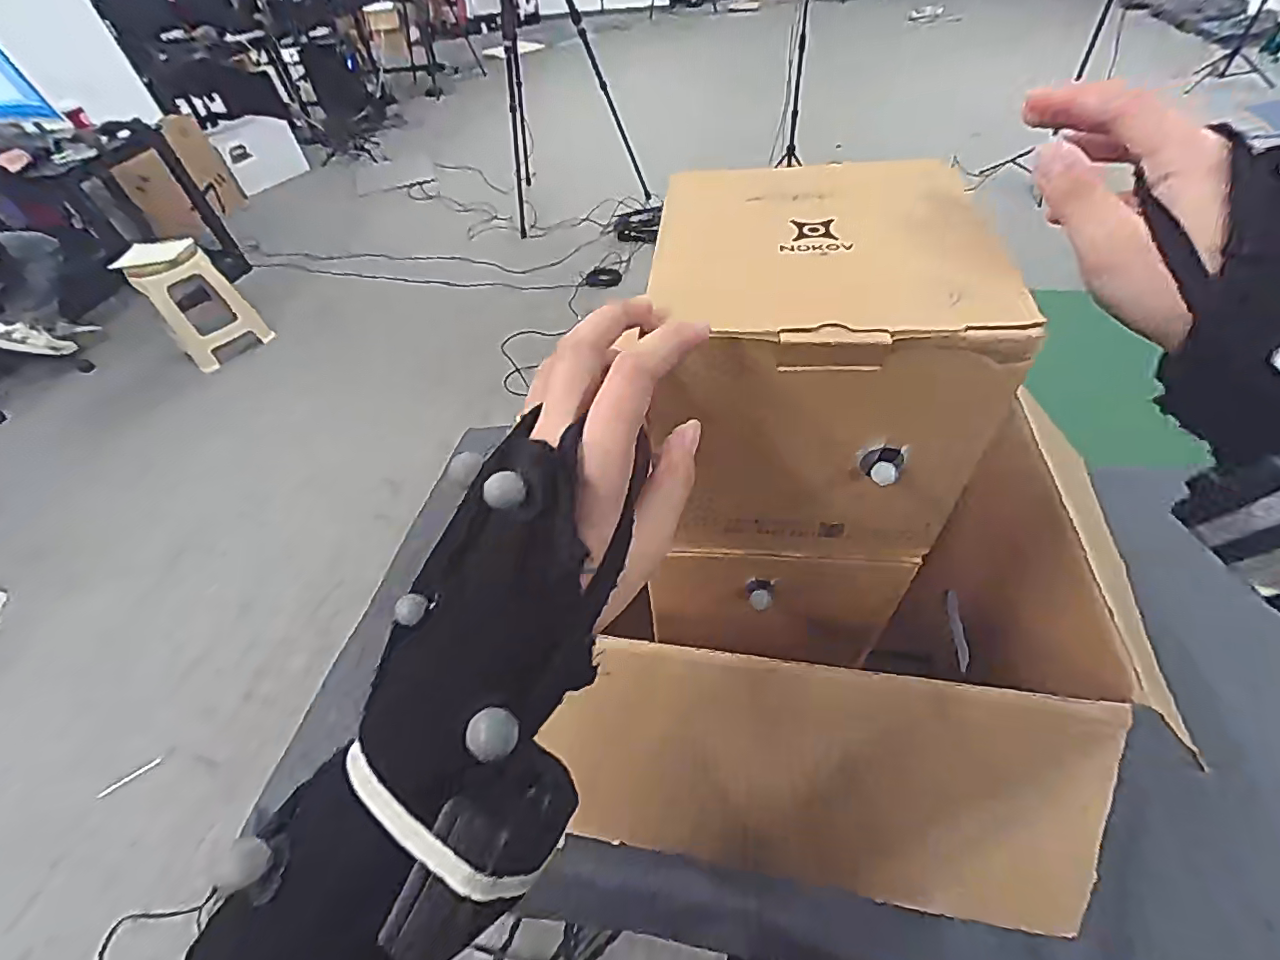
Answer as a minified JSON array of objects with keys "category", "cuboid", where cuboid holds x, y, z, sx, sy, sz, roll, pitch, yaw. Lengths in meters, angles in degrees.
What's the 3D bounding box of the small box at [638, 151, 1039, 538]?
[{"category":"small box","cuboid":[0.095,-0.079,0.338,0.168,0.176,0.179,2,49,7]}]
